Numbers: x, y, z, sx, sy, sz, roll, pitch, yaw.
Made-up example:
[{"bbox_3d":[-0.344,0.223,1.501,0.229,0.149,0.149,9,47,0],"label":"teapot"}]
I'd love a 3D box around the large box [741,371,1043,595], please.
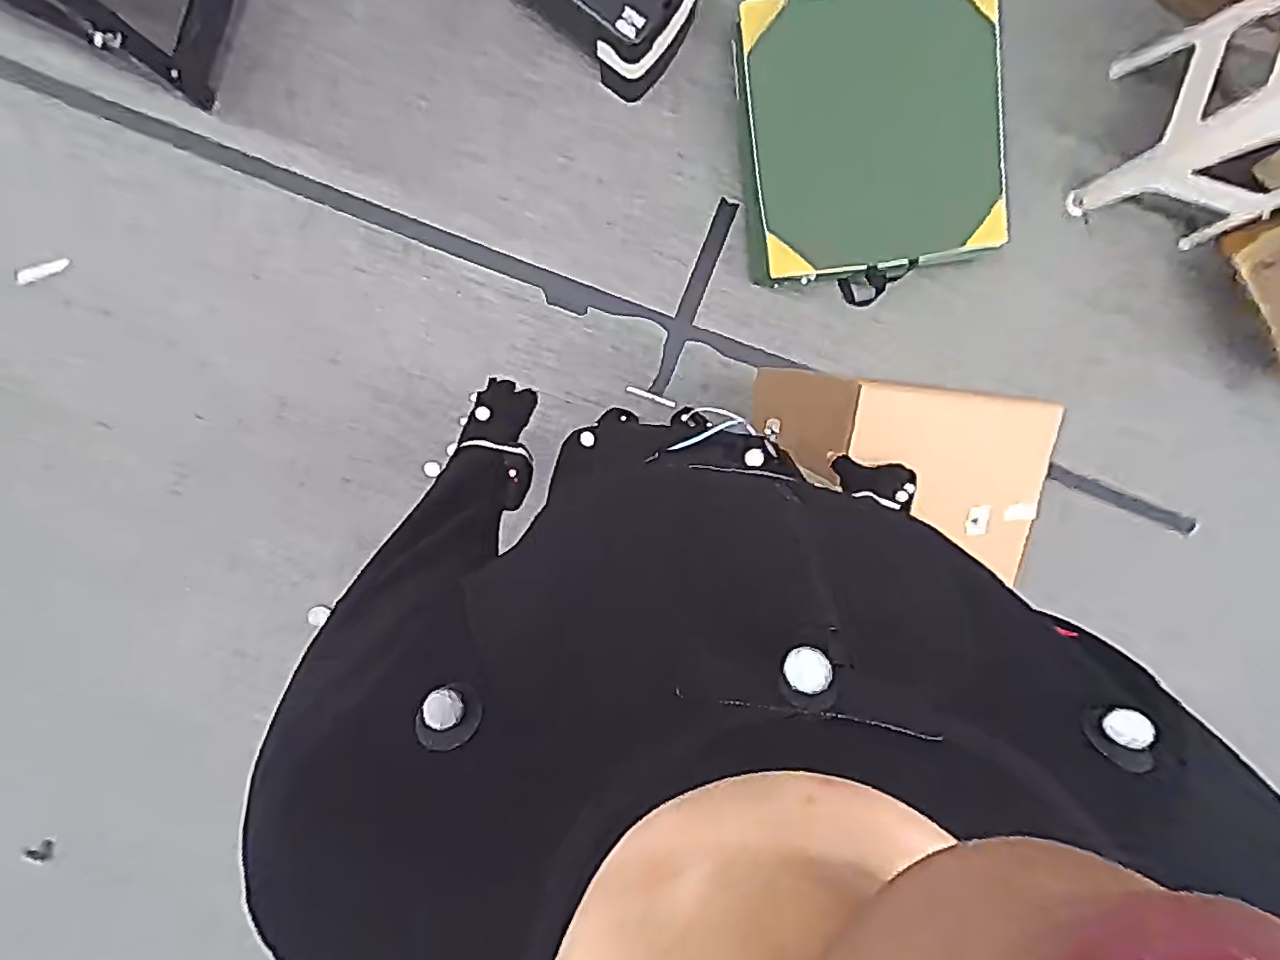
[{"bbox_3d":[0.404,-0.018,0.977,0.320,0.408,0.320,6,104,-7],"label":"large box"}]
